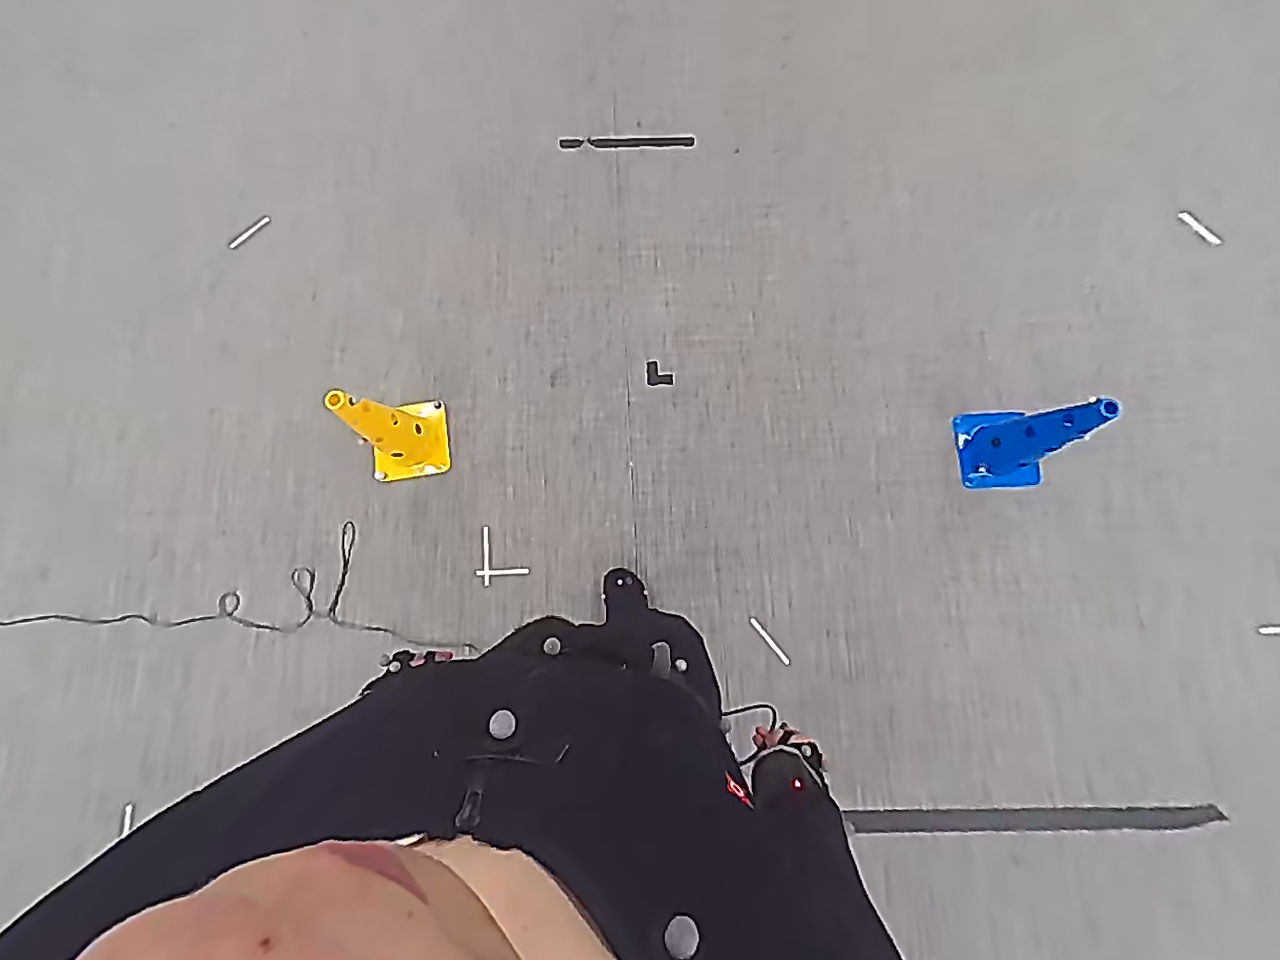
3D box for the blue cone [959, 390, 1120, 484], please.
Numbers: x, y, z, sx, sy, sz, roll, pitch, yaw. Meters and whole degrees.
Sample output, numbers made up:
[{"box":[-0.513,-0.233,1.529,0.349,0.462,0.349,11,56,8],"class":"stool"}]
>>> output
[{"box":[0.923,-0.114,1.230,0.193,0.380,0.192,-1,79,1],"class":"blue cone"}]
